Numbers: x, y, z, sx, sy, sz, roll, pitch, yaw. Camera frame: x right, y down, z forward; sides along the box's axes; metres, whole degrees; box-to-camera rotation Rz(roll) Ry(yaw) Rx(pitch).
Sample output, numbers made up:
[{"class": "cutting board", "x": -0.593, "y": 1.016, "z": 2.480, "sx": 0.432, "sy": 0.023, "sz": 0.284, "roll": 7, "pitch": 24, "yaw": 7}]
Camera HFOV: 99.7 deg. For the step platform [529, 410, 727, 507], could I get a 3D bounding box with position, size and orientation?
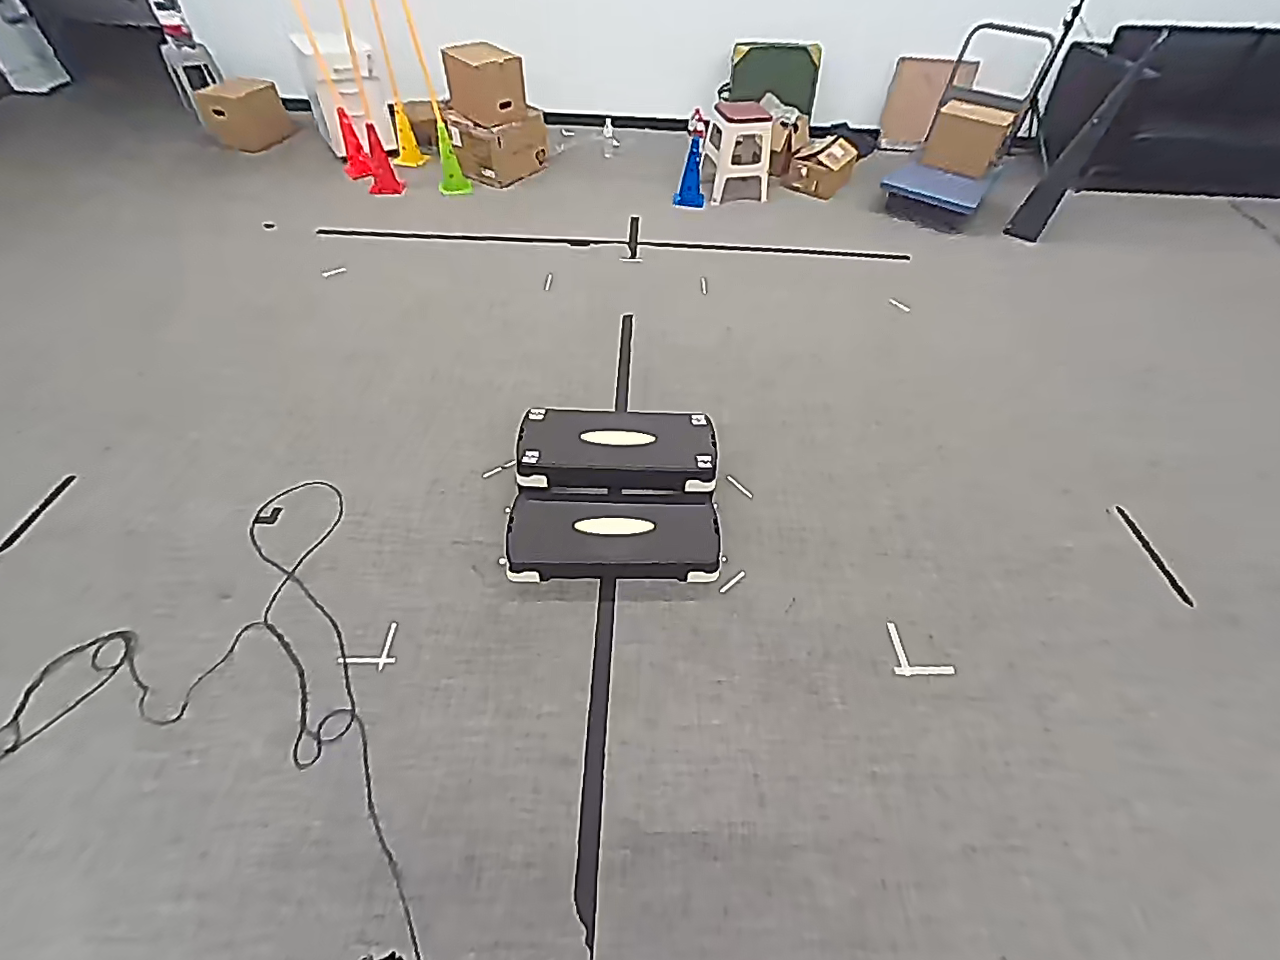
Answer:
[{"class": "step platform", "x": -0.041, "y": -0.079, "z": 1.889, "sx": 0.684, "sy": 0.204, "sz": 0.286, "roll": 2, "pitch": 50, "yaw": -3}]
